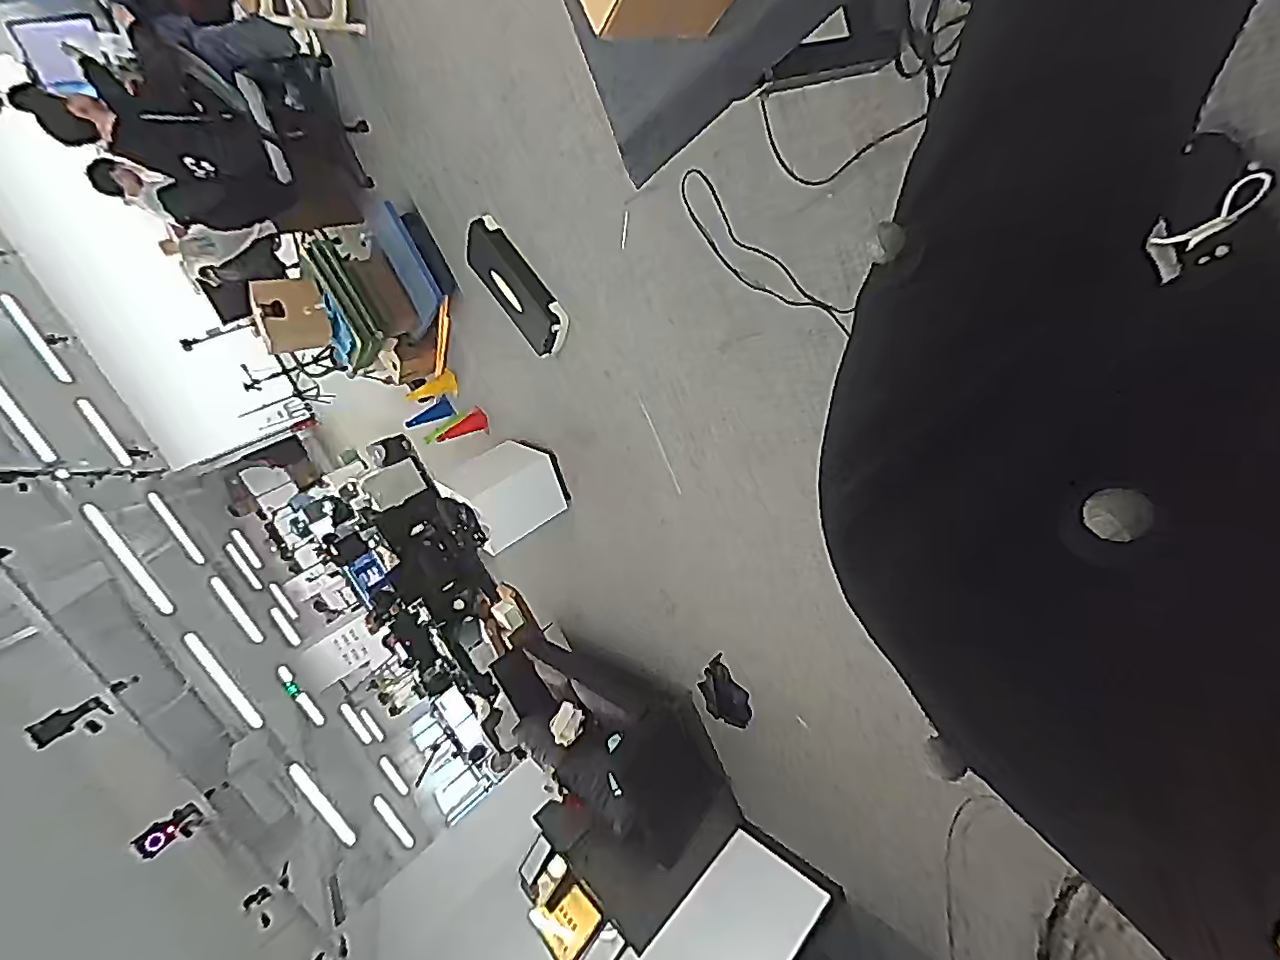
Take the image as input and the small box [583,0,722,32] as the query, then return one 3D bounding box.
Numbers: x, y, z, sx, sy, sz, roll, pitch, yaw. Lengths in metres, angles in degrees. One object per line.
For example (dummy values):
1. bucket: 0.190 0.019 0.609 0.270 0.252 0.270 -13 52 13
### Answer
1. small box: 0.023 -0.571 0.501 0.179 0.176 0.168 -15 105 59
